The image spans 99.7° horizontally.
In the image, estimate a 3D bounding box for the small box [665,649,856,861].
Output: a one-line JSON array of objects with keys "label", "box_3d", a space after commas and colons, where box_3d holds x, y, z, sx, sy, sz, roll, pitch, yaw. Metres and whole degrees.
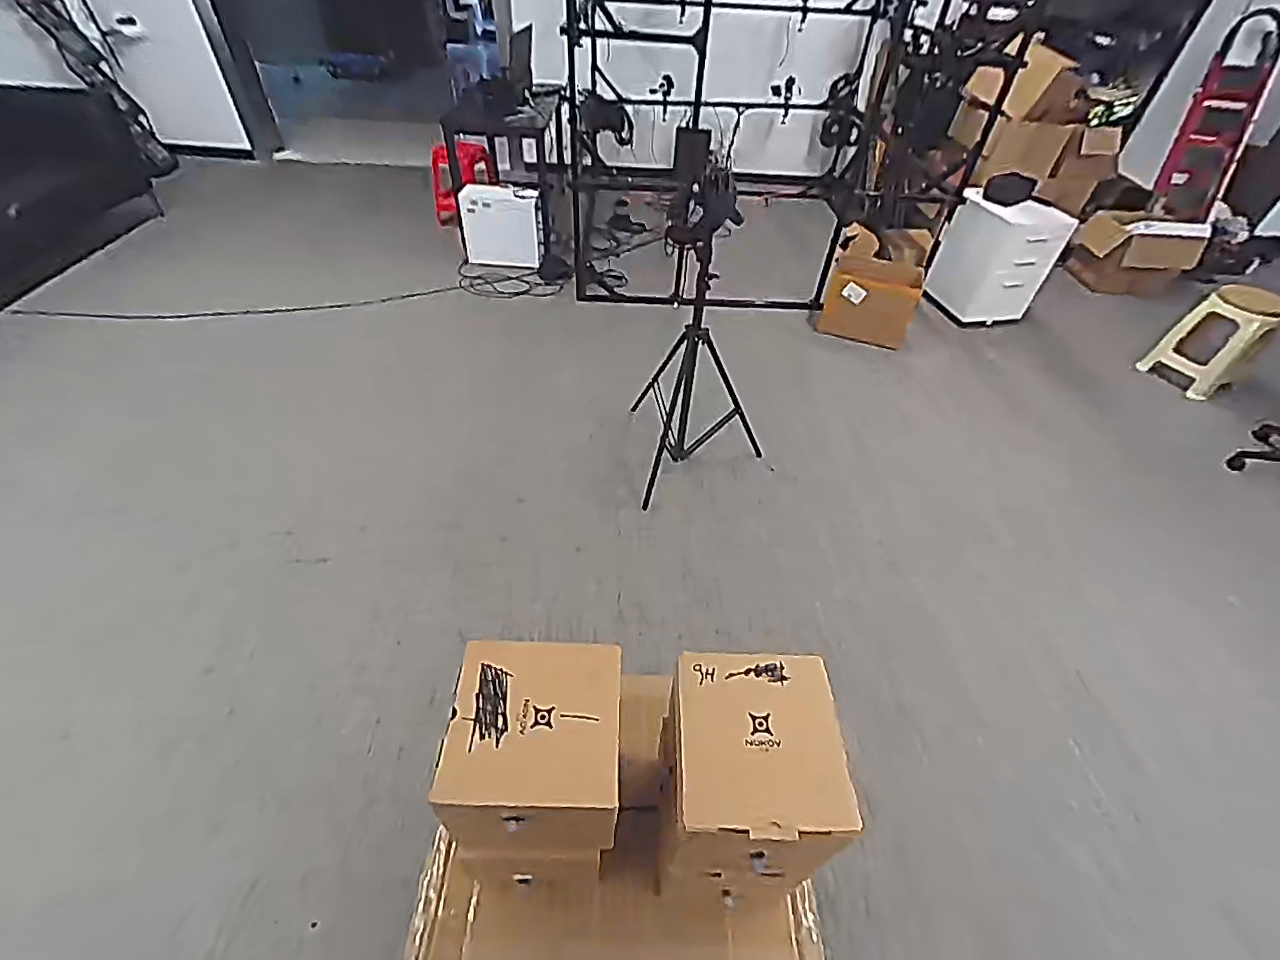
[{"label": "small box", "box_3d": [0.117, 0.312, 0.609, 0.168, 0.176, 0.179, 3, 46, -2]}]

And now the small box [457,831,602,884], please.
[{"label": "small box", "box_3d": [-0.131, 0.418, 0.723, 0.168, 0.176, 0.179, 1, 46, -2]}]

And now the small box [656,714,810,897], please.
[{"label": "small box", "box_3d": [0.108, 0.433, 0.722, 0.168, 0.176, 0.179, 0, 45, -1]}]

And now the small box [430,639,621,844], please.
[{"label": "small box", "box_3d": [-0.113, 0.298, 0.613, 0.179, 0.176, 0.168, 3, 45, -3]}]
